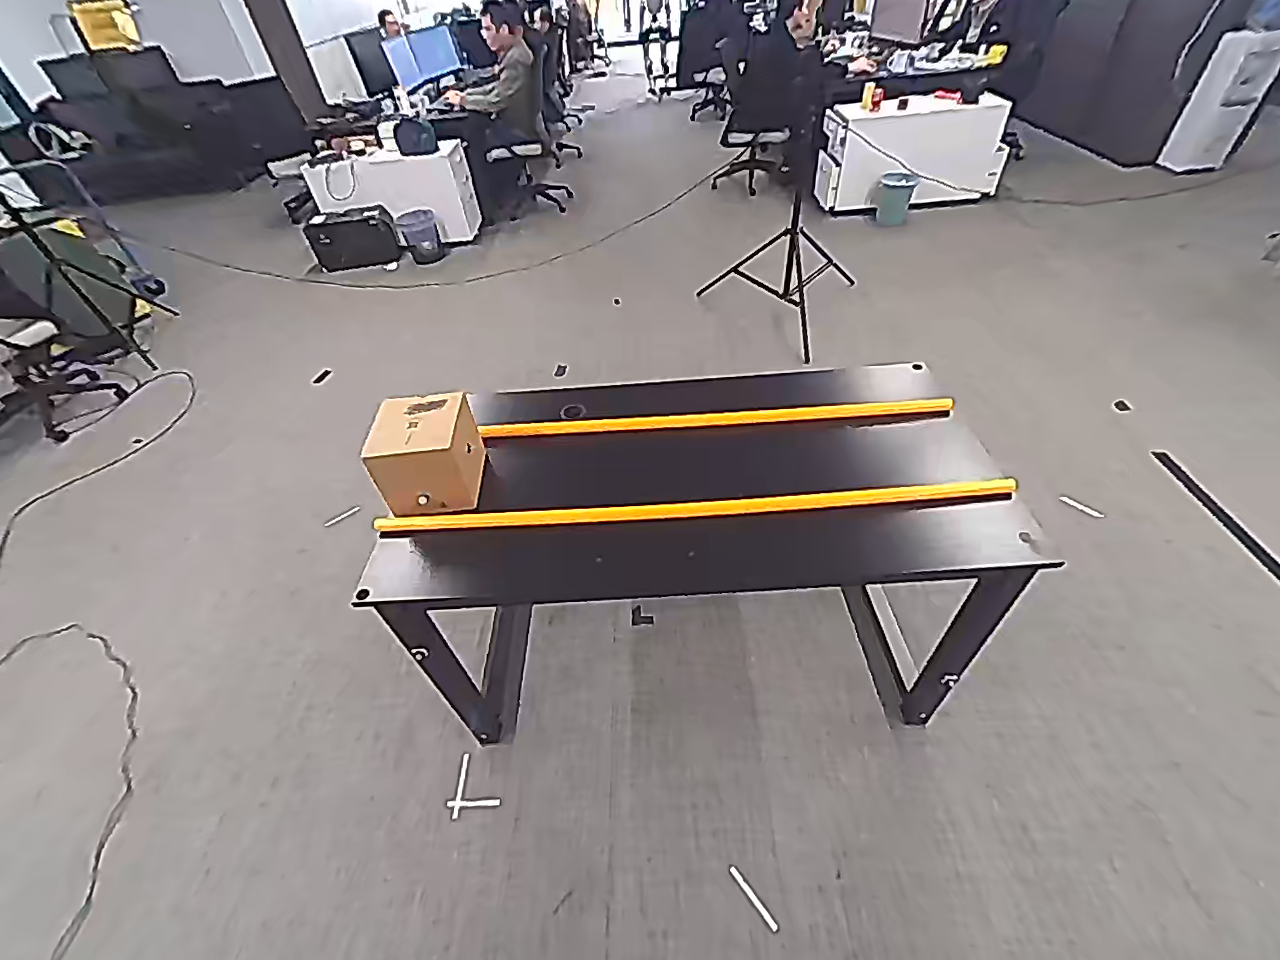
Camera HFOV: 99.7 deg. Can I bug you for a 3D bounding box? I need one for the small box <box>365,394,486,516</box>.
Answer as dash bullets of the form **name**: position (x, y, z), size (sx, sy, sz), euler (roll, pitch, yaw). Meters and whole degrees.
- **small box**: position (-0.418, -0.050, 1.091), size (0.168, 0.176, 0.179), euler (-6, 45, 0)
